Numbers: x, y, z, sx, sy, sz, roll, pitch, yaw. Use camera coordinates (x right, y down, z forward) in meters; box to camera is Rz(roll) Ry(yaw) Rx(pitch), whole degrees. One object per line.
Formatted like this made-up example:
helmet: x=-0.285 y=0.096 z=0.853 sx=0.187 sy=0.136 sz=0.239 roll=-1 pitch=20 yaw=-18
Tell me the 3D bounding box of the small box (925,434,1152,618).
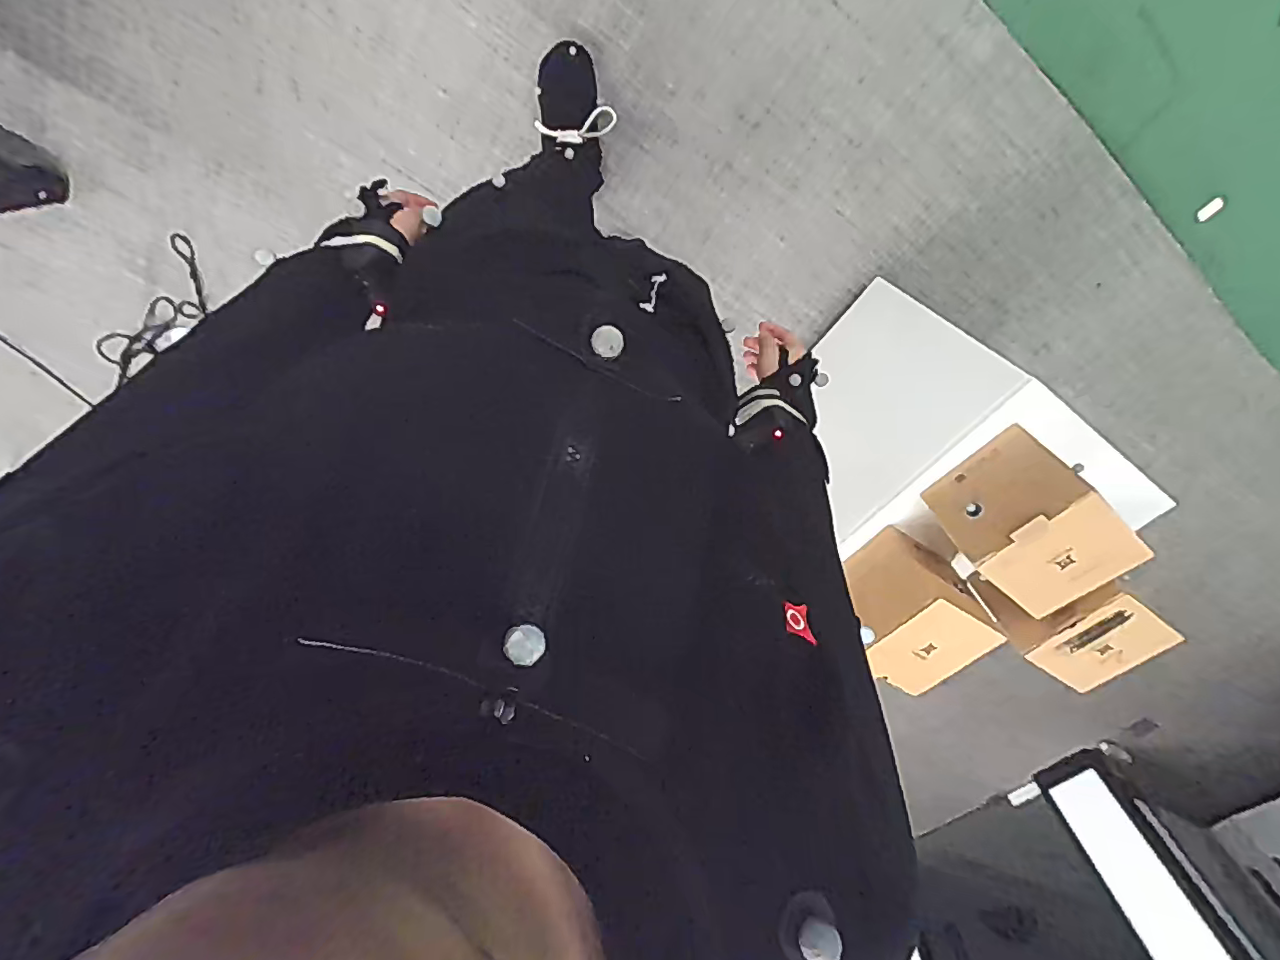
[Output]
small box: x=0.554 y=0.058 z=0.777 sx=0.179 sy=0.176 sz=0.168 roll=32 pitch=119 yaw=-23
